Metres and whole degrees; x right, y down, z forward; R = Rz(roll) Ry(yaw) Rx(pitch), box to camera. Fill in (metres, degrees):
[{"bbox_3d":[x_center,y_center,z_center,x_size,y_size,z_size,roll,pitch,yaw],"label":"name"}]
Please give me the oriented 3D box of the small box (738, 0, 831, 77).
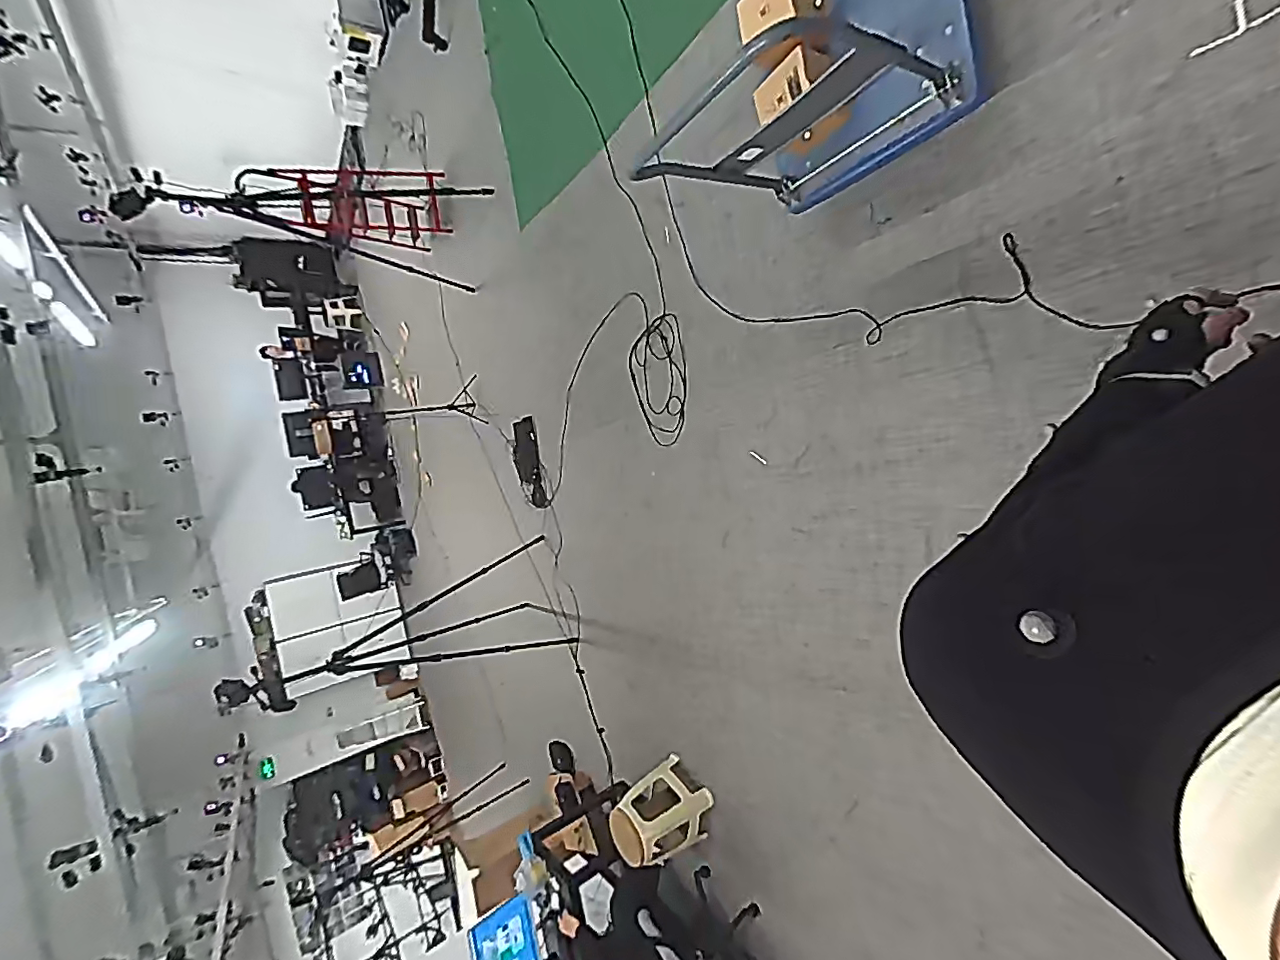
[{"bbox_3d":[0.407,-1.288,1.525,0.179,0.176,0.168,-7,94,53],"label":"small box"}]
